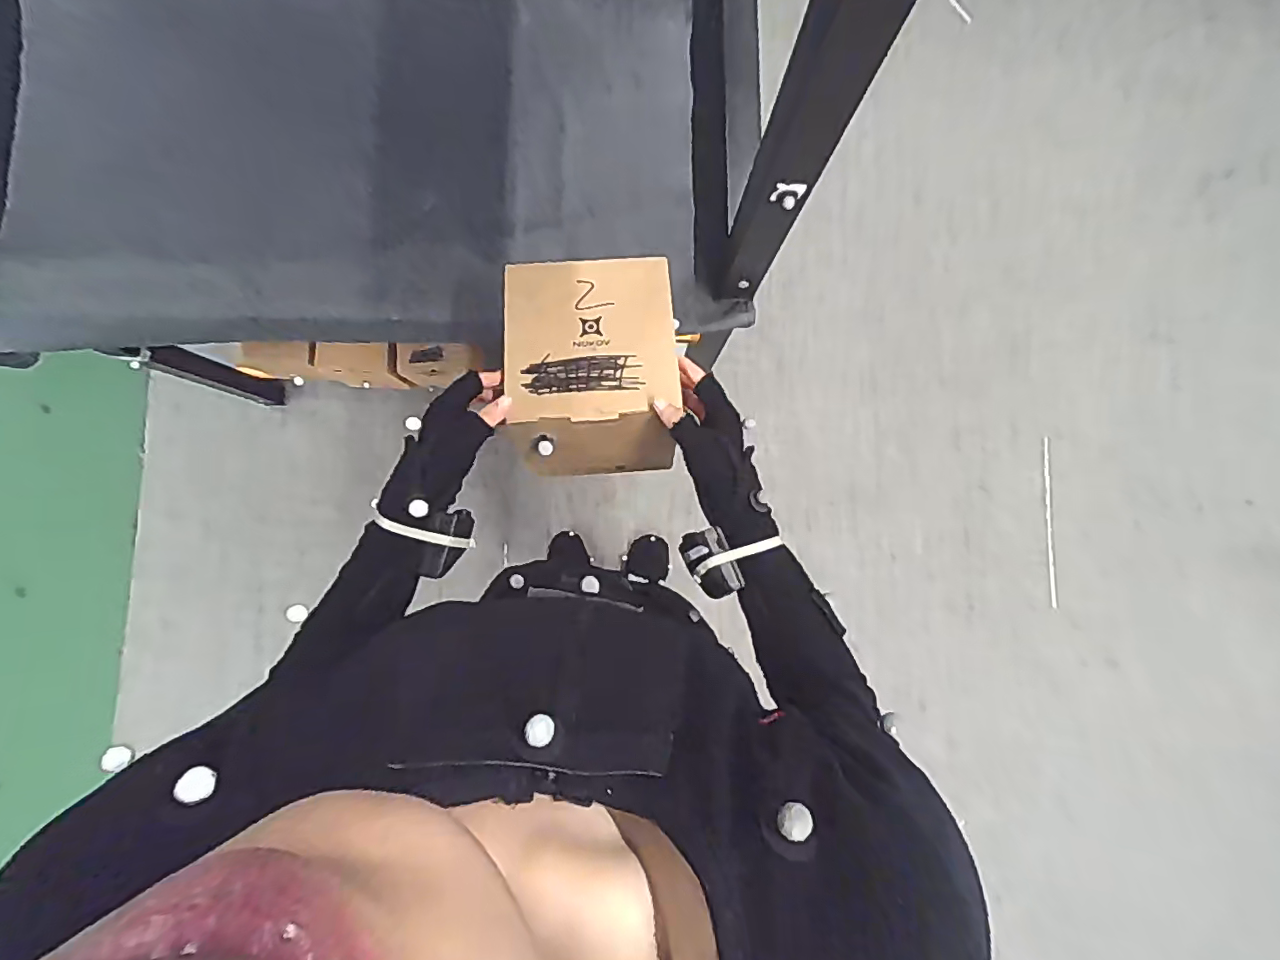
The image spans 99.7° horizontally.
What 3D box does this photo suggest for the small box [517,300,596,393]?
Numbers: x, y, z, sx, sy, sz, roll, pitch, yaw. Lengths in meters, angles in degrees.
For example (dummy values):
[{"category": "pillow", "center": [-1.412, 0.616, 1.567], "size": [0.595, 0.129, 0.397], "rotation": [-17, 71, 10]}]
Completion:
[{"category": "small box", "center": [-0.202, -0.327, 1.350], "size": [0.168, 0.176, 0.179], "rotation": [6, 87, 0]}]
